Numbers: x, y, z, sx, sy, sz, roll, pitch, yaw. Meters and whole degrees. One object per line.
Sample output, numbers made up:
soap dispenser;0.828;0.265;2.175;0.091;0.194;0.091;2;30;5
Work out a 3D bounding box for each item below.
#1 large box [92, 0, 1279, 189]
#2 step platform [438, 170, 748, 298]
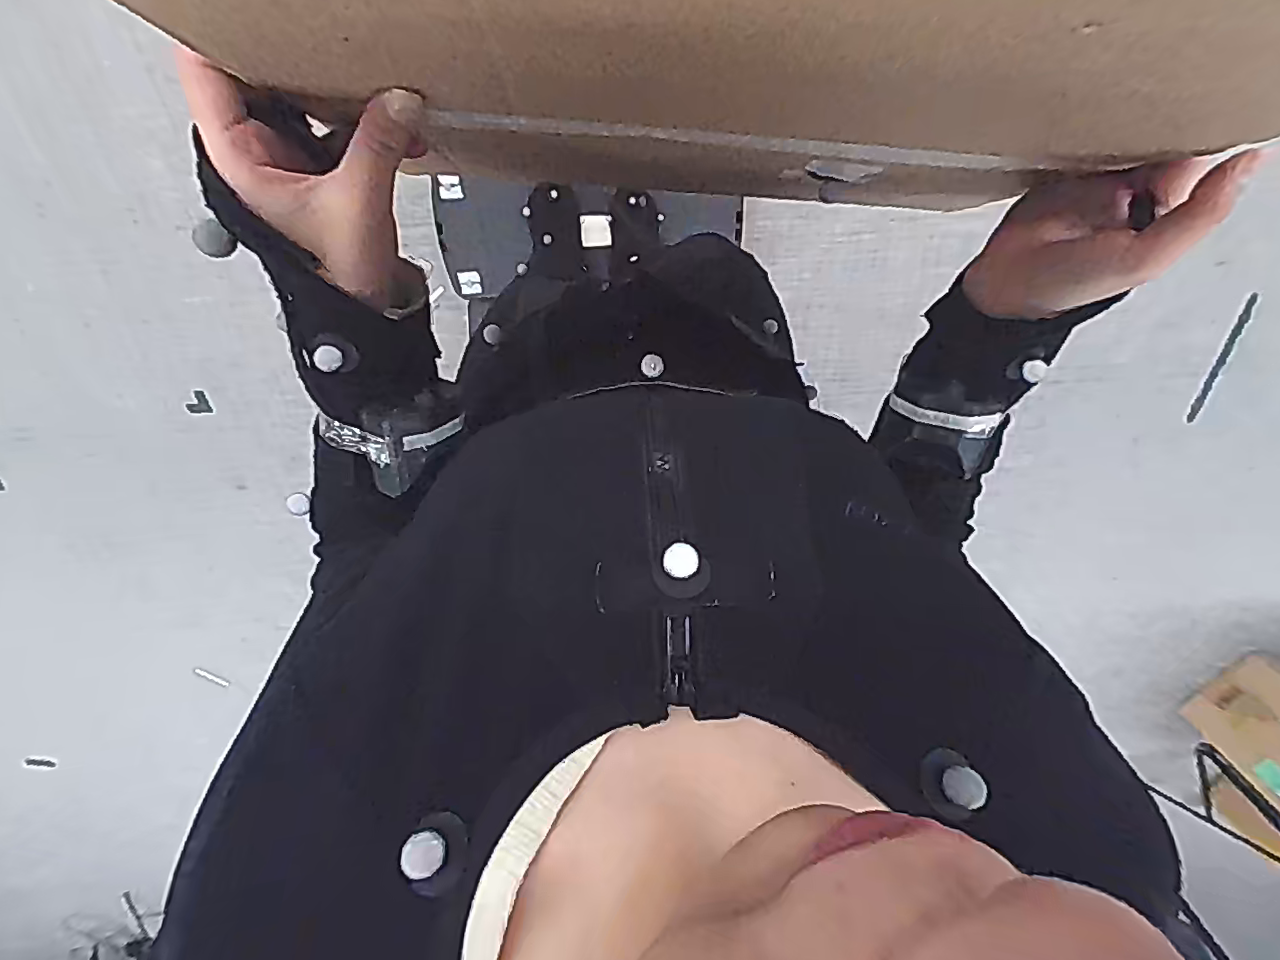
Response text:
large box;0.035;-0.308;0.192;0.408;0.320;0.320;0;110;-4
step platform;-0.101;-0.592;1.243;0.684;0.204;0.286;1;123;-4
